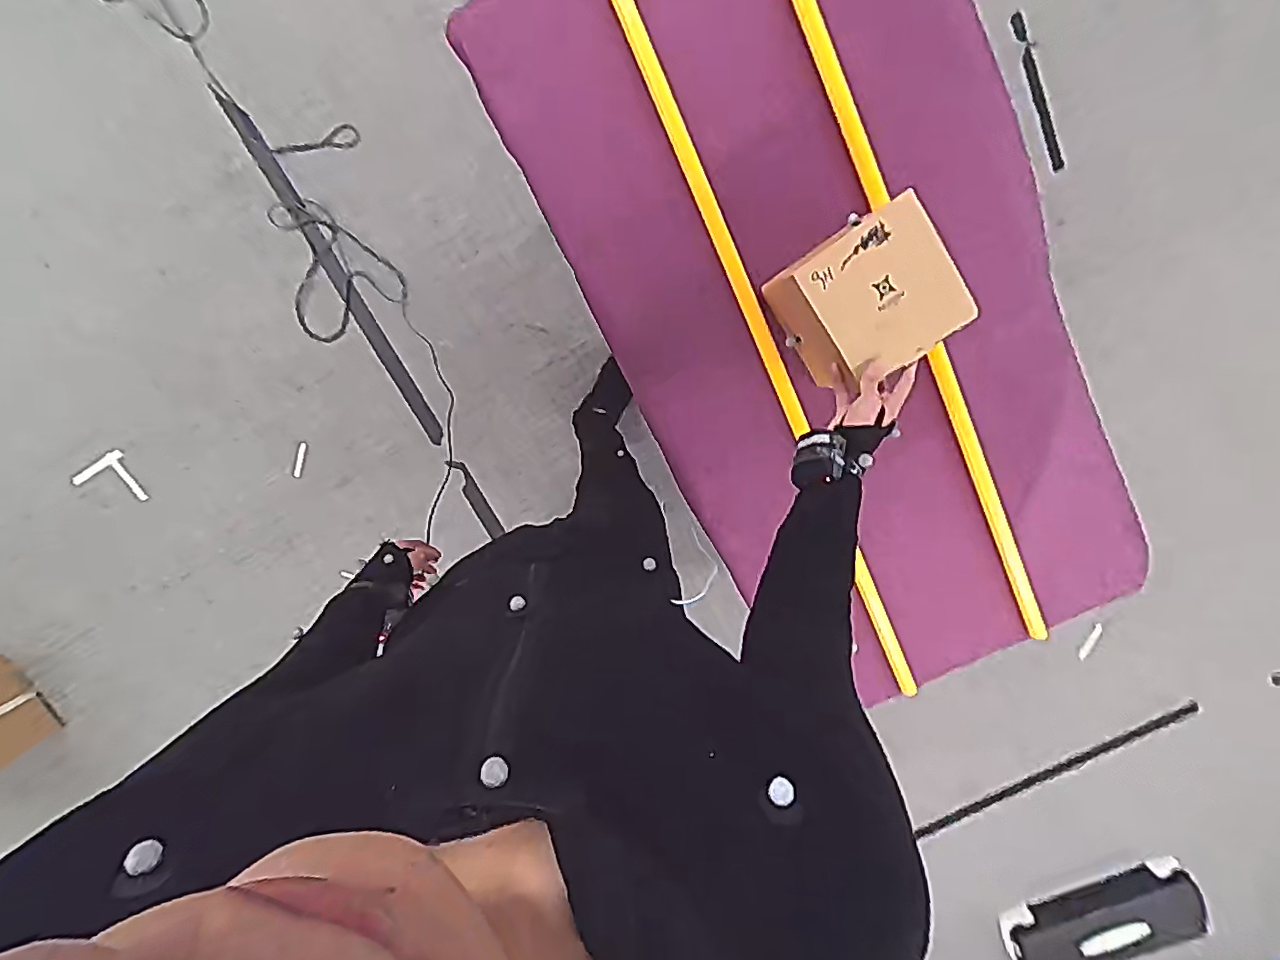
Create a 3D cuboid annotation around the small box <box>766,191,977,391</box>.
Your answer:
[{"bbox_3d":[0.295,-0.242,0.724,0.168,0.176,0.179,-34,102,7],"label":"small box"}]
